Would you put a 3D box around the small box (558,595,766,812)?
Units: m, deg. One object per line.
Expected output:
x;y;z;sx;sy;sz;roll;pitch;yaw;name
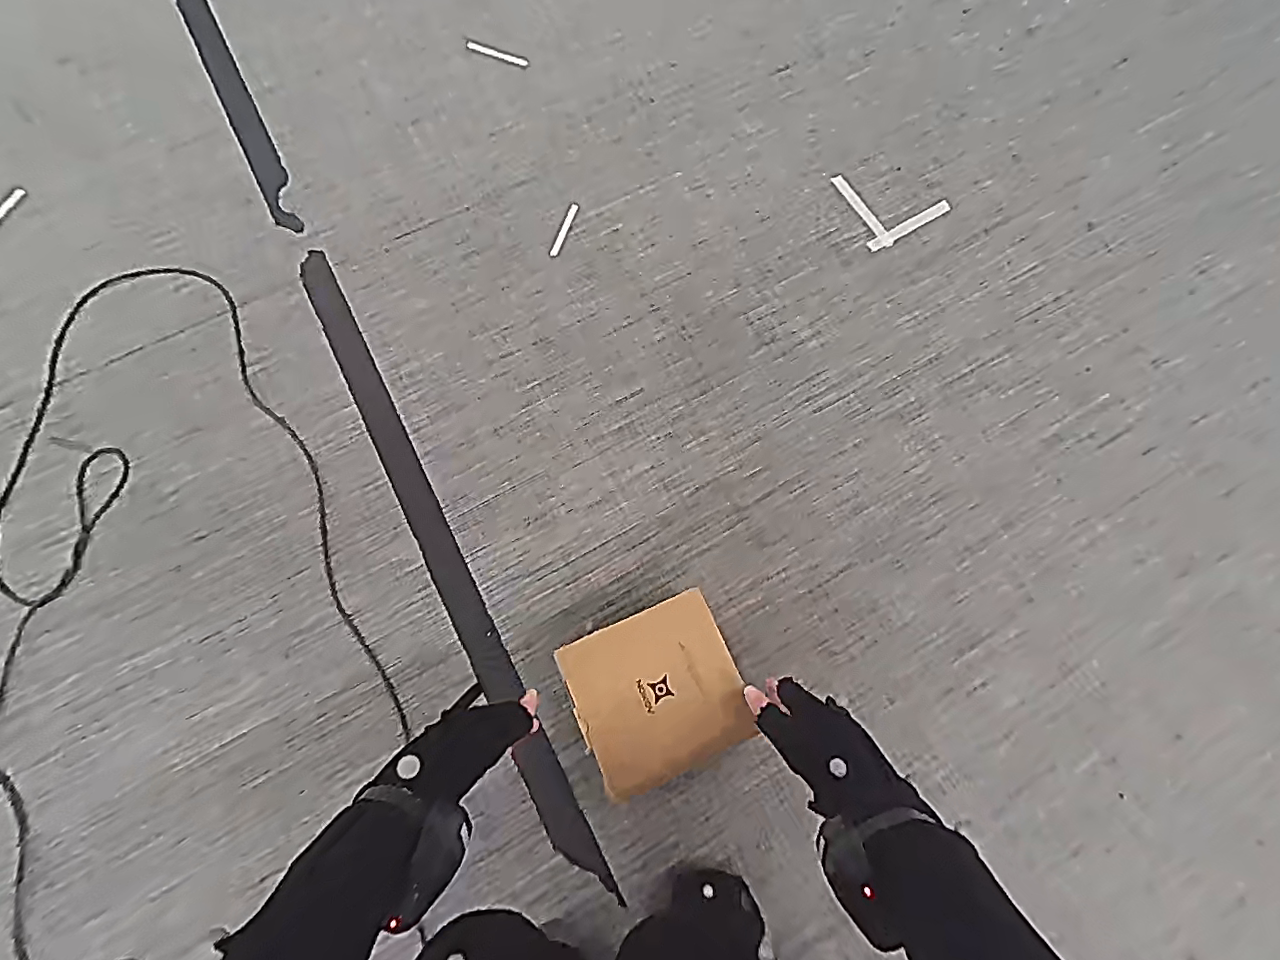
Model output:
0.020;0.251;0.644;0.179;0.176;0.168;-22;77;-8;small box
